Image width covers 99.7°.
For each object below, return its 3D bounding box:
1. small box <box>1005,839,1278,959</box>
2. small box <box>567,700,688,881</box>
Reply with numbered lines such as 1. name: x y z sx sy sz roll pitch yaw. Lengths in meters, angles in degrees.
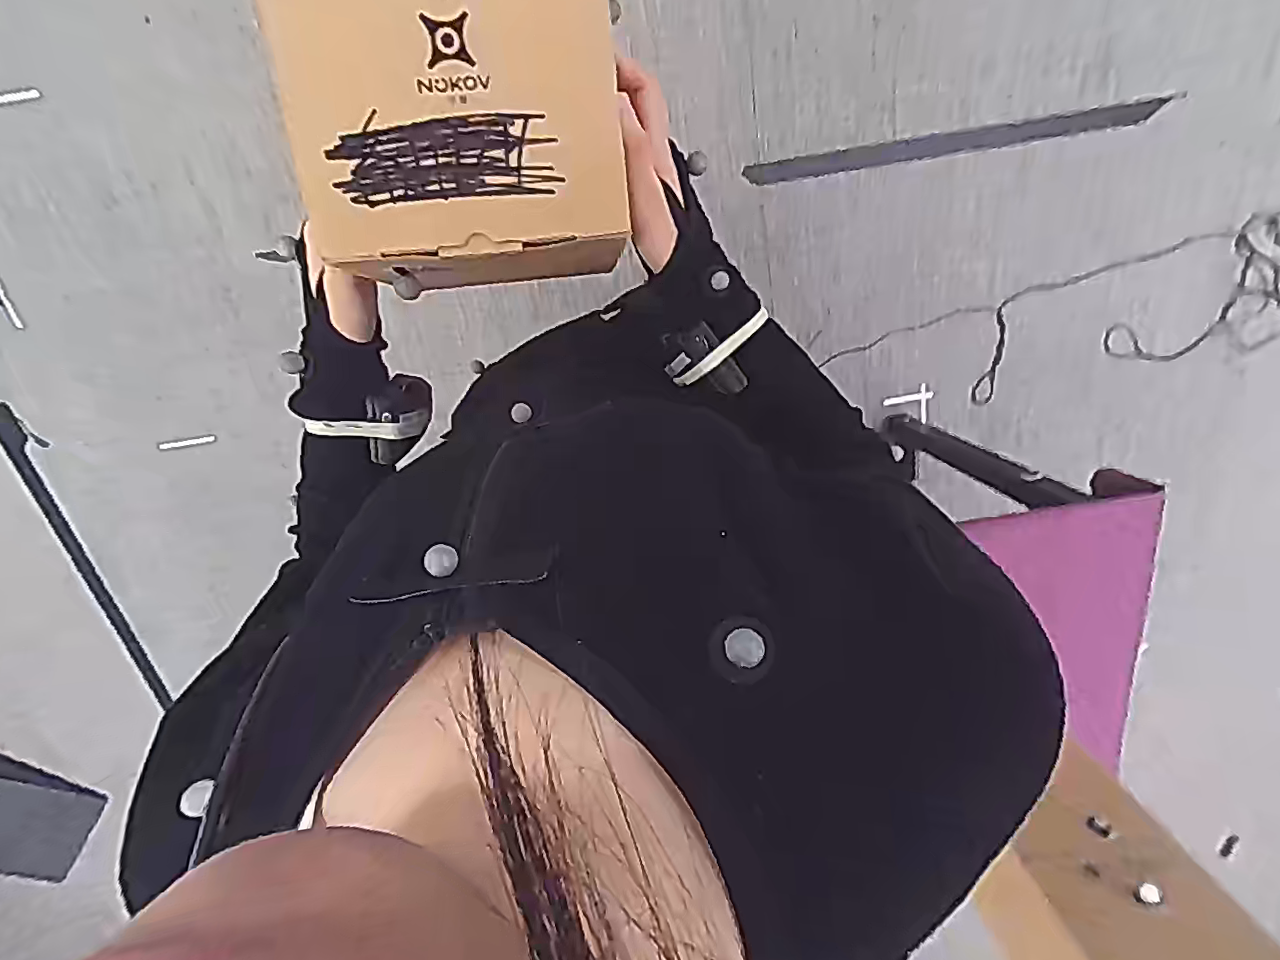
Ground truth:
1. small box: 0.488 0.489 0.518 0.168 0.176 0.179 -8 109 0
2. small box: -0.018 0.471 0.835 0.168 0.176 0.179 -4 110 -2
